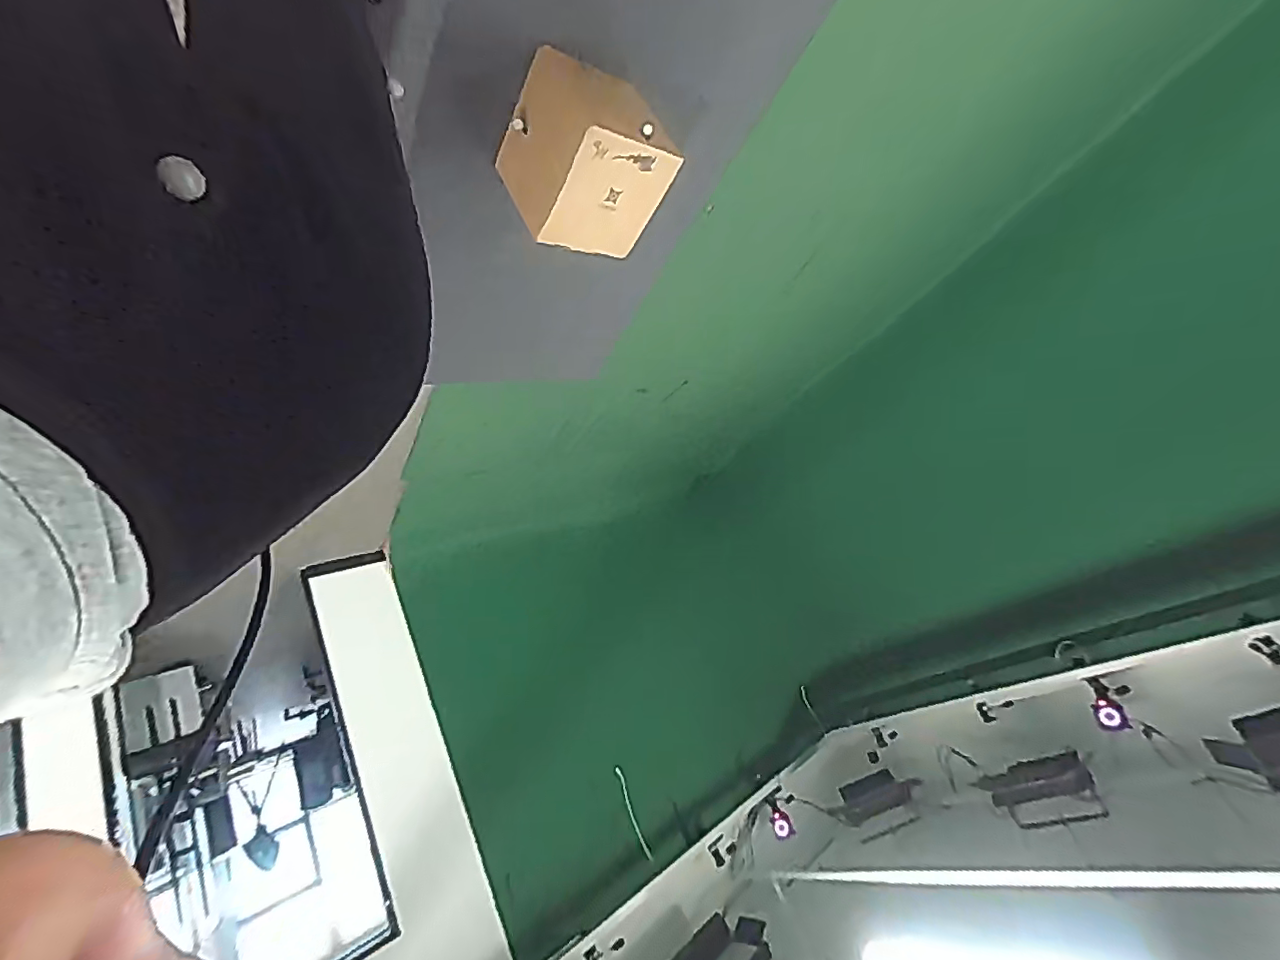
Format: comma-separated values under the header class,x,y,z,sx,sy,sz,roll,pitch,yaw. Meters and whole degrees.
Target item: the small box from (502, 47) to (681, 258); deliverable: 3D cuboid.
class,x,y,z,sx,sy,sz,roll,pitch,yaw
small box,-0.079,-0.456,0.775,0.168,0.176,0.179,-11,156,-41
